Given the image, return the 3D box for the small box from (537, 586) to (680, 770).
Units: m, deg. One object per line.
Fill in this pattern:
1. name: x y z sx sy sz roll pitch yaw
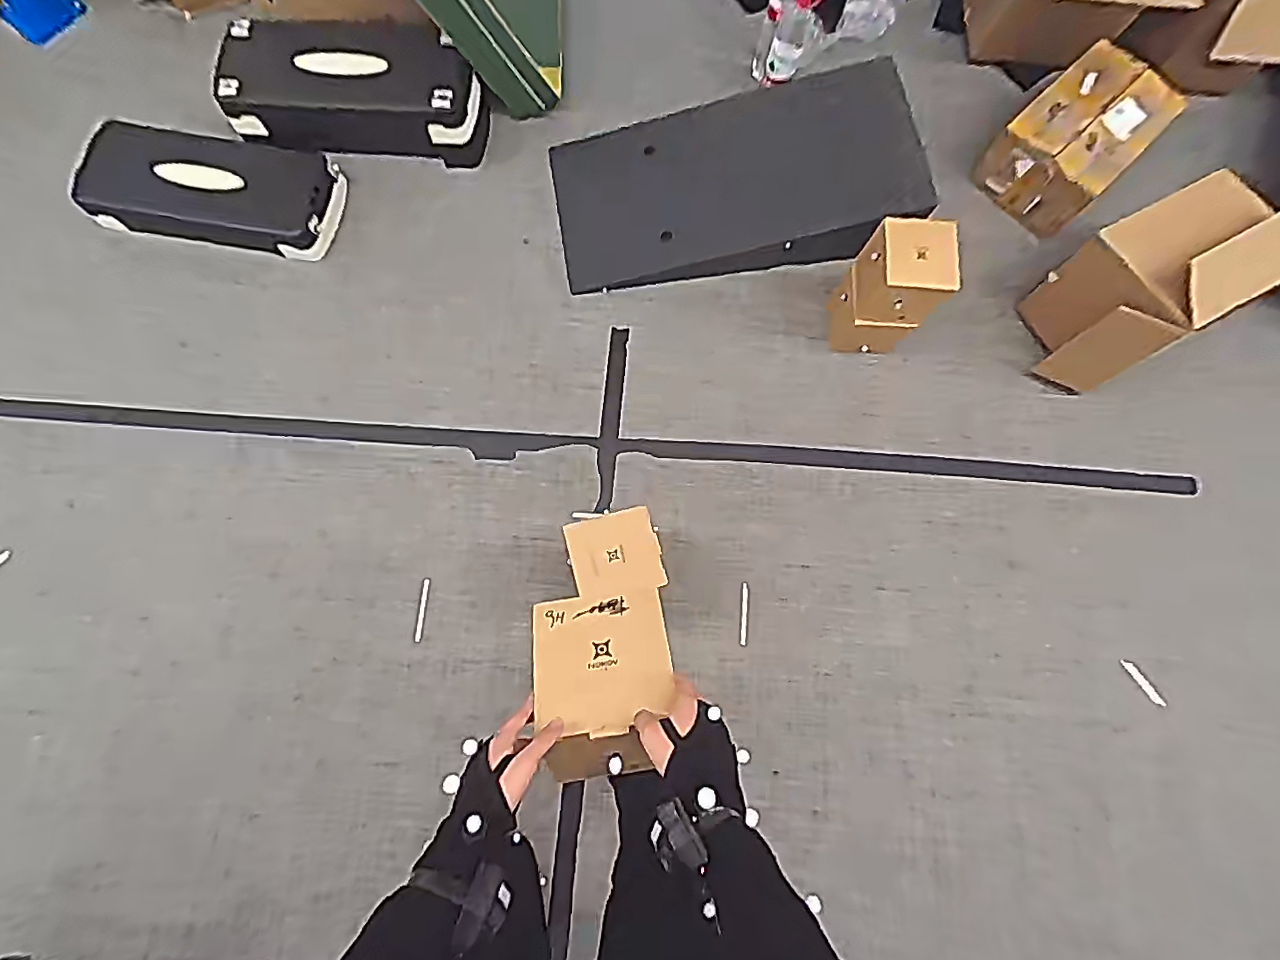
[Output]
1. small box: -0.040 0.267 0.718 0.168 0.176 0.179 -7 47 -4
